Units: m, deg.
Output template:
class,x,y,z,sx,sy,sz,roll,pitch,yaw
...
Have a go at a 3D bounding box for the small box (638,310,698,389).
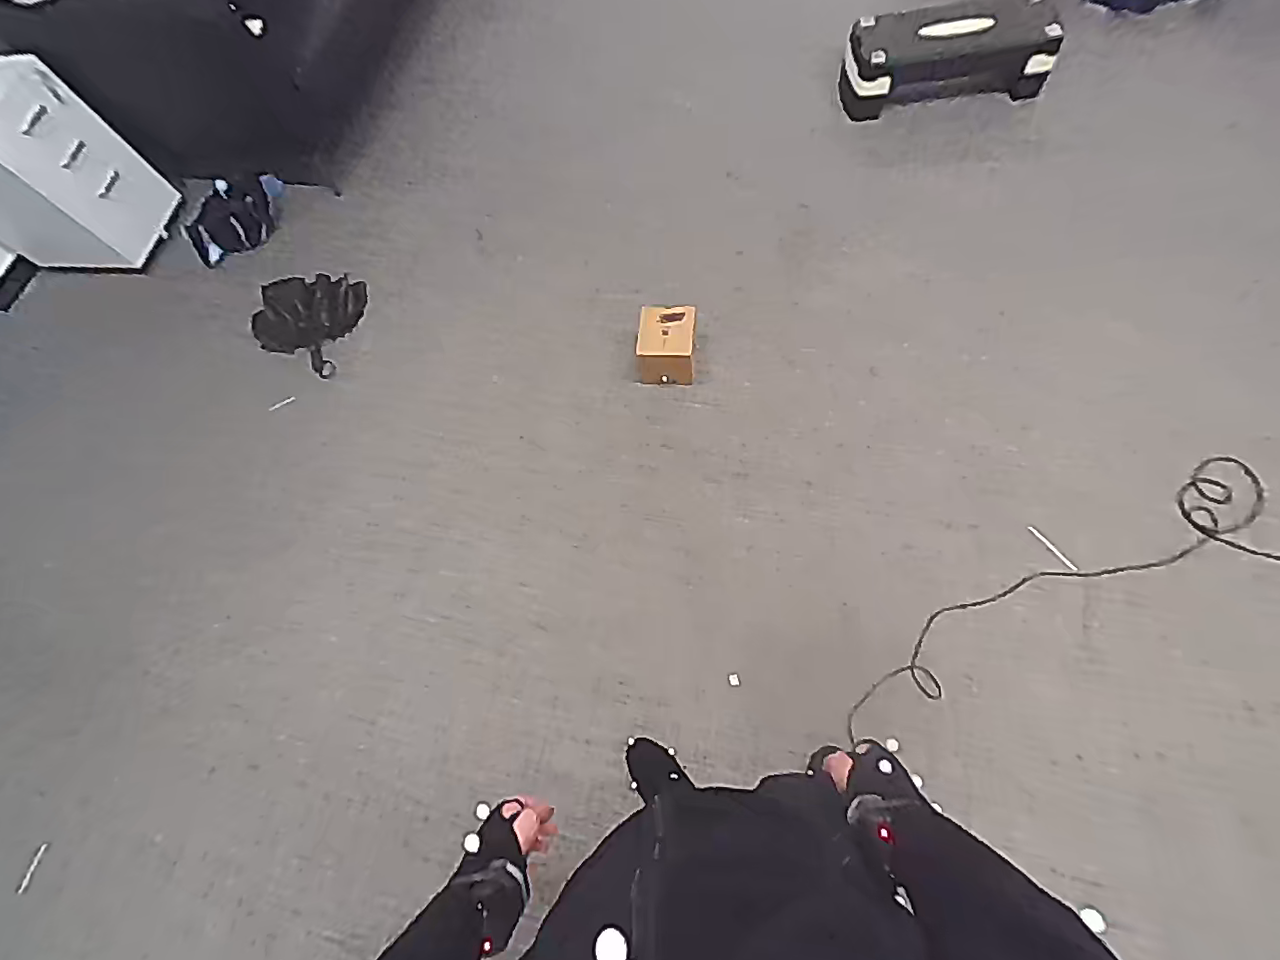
class,x,y,z,sx,sy,sz,roll,pitch,yaw
small box,0.092,-0.405,1.679,0.168,0.176,0.179,3,69,10
